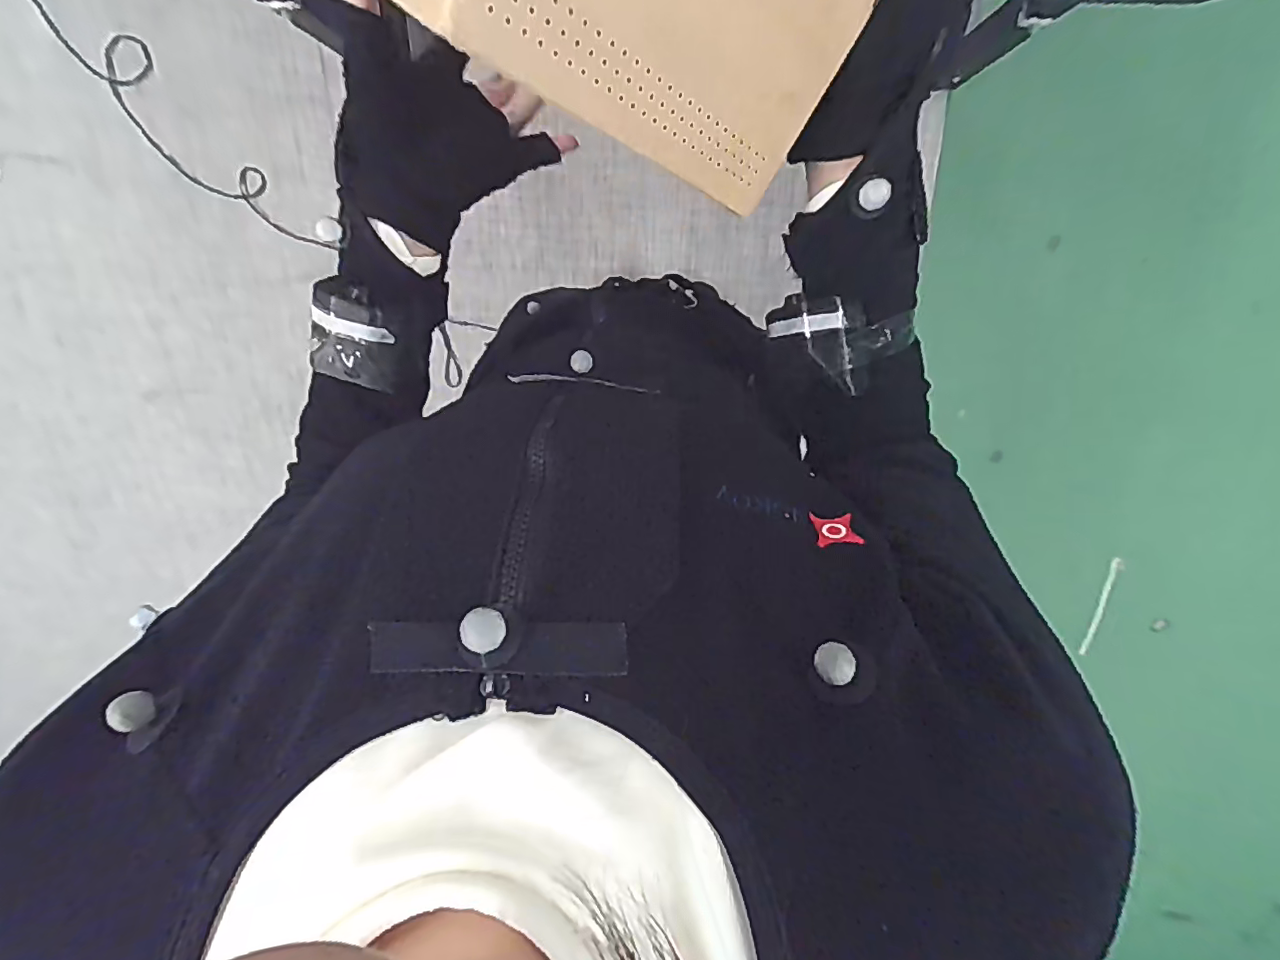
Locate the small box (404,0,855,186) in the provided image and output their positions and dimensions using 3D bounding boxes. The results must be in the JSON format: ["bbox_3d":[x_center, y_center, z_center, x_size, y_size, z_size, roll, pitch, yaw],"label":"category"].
[{"bbox_3d":[-0.006,-0.265,0.245,0.168,0.179,0.176,53,125,31],"label":"small box"}]
